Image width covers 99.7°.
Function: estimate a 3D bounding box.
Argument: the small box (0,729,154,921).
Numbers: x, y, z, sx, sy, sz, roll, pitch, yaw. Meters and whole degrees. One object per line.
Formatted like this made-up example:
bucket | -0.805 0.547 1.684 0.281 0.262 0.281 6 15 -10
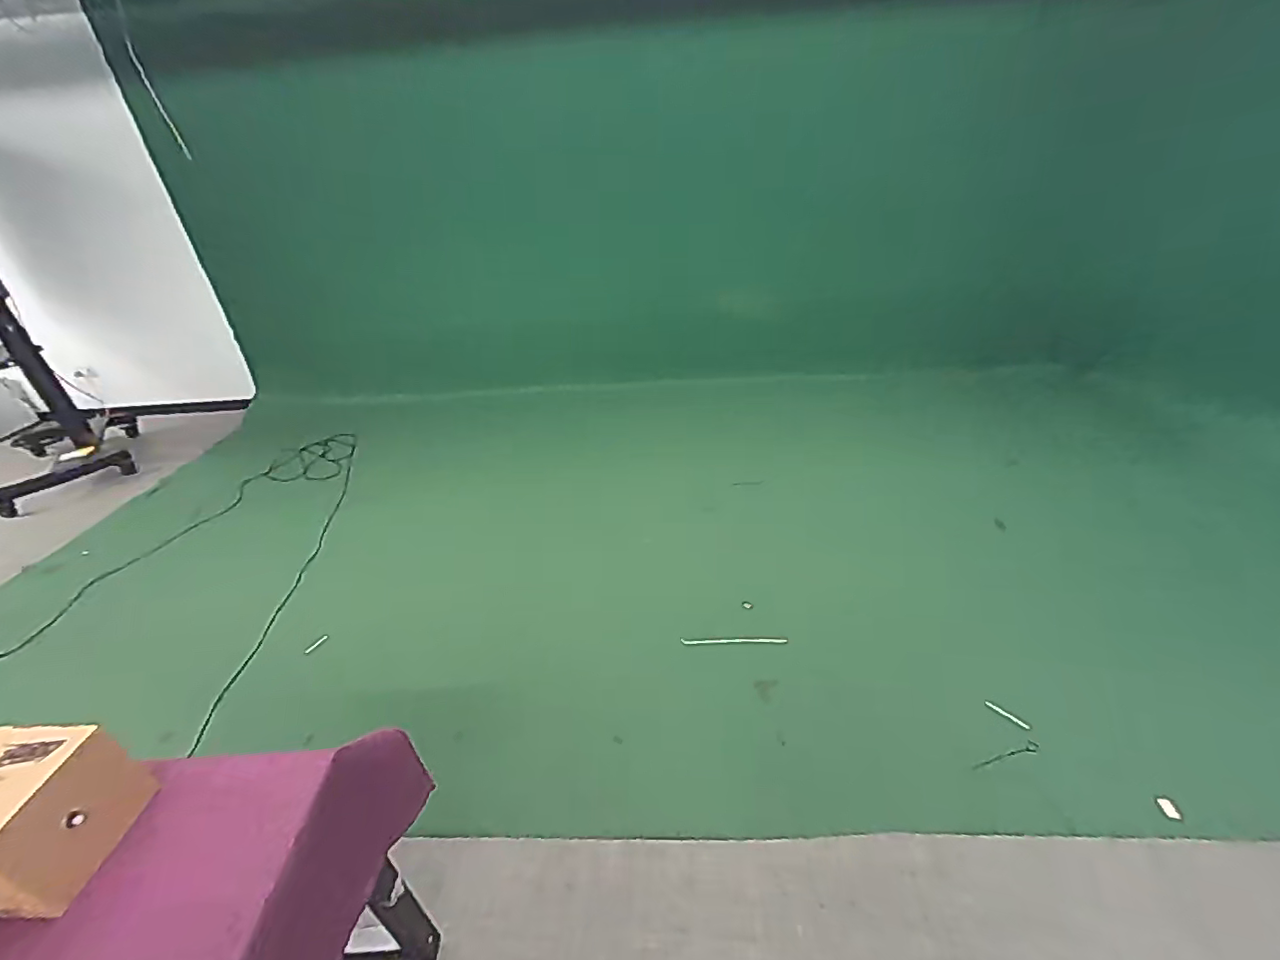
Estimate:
small box | -0.846 0.478 0.757 0.168 0.176 0.179 -3 33 4
